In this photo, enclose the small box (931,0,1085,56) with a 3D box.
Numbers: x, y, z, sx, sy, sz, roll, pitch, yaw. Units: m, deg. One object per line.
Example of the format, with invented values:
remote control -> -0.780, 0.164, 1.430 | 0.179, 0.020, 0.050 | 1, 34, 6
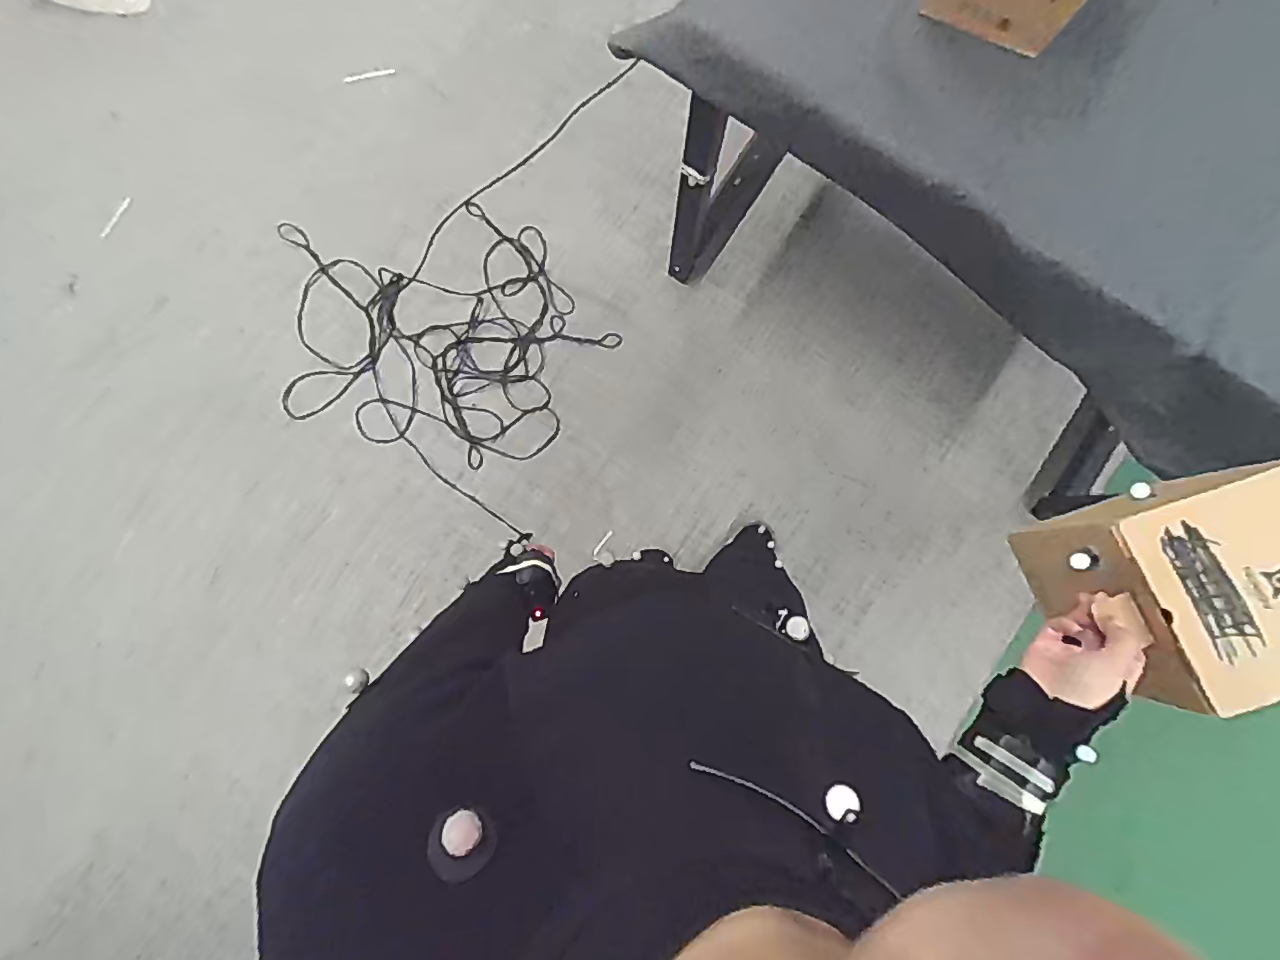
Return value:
small box -> 0.464, -0.647, 0.617 | 0.168, 0.176, 0.179 | 23, 85, 0
